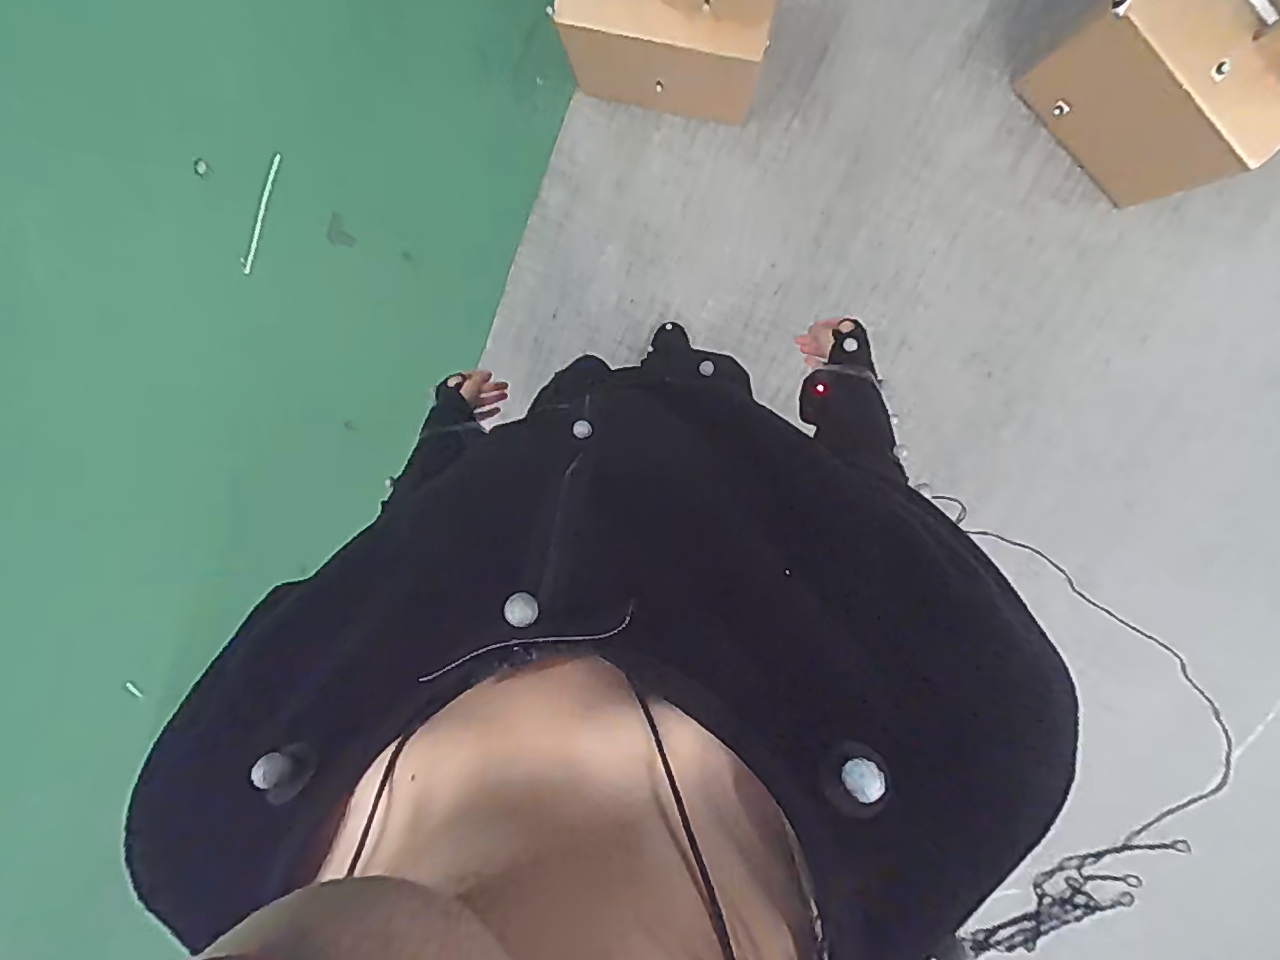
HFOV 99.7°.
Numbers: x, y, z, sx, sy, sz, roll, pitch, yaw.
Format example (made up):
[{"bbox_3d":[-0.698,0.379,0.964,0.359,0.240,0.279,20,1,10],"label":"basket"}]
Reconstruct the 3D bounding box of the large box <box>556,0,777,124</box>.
[{"bbox_3d":[0.075,-0.991,1.119,0.408,0.320,0.320,12,104,2],"label":"large box"}]

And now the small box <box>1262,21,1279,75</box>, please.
[{"bbox_3d":[1.187,-0.749,0.857,0.168,0.176,0.179,43,101,-7],"label":"small box"}]
